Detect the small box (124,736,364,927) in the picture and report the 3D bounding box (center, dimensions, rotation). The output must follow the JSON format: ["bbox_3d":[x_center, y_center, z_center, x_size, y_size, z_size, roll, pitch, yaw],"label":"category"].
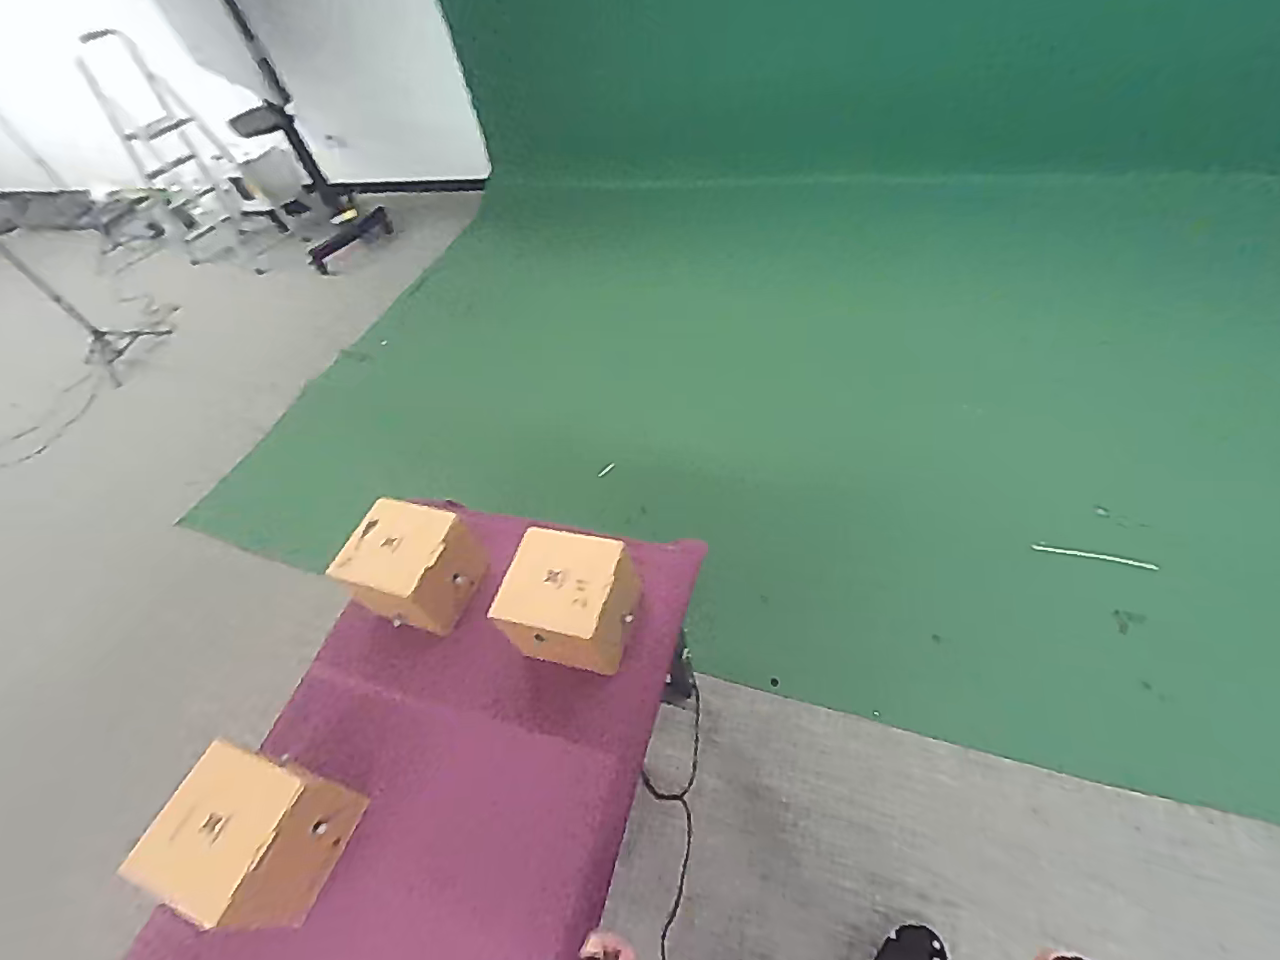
[{"bbox_3d":[-0.537,0.491,0.763,0.179,0.176,0.168,11,54,19],"label":"small box"}]

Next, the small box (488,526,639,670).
[{"bbox_3d":[-0.116,0.201,0.907,0.179,0.176,0.168,8,55,17],"label":"small box"}]

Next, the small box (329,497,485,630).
[{"bbox_3d":[-0.415,0.158,1.000,0.179,0.176,0.168,11,55,16],"label":"small box"}]
